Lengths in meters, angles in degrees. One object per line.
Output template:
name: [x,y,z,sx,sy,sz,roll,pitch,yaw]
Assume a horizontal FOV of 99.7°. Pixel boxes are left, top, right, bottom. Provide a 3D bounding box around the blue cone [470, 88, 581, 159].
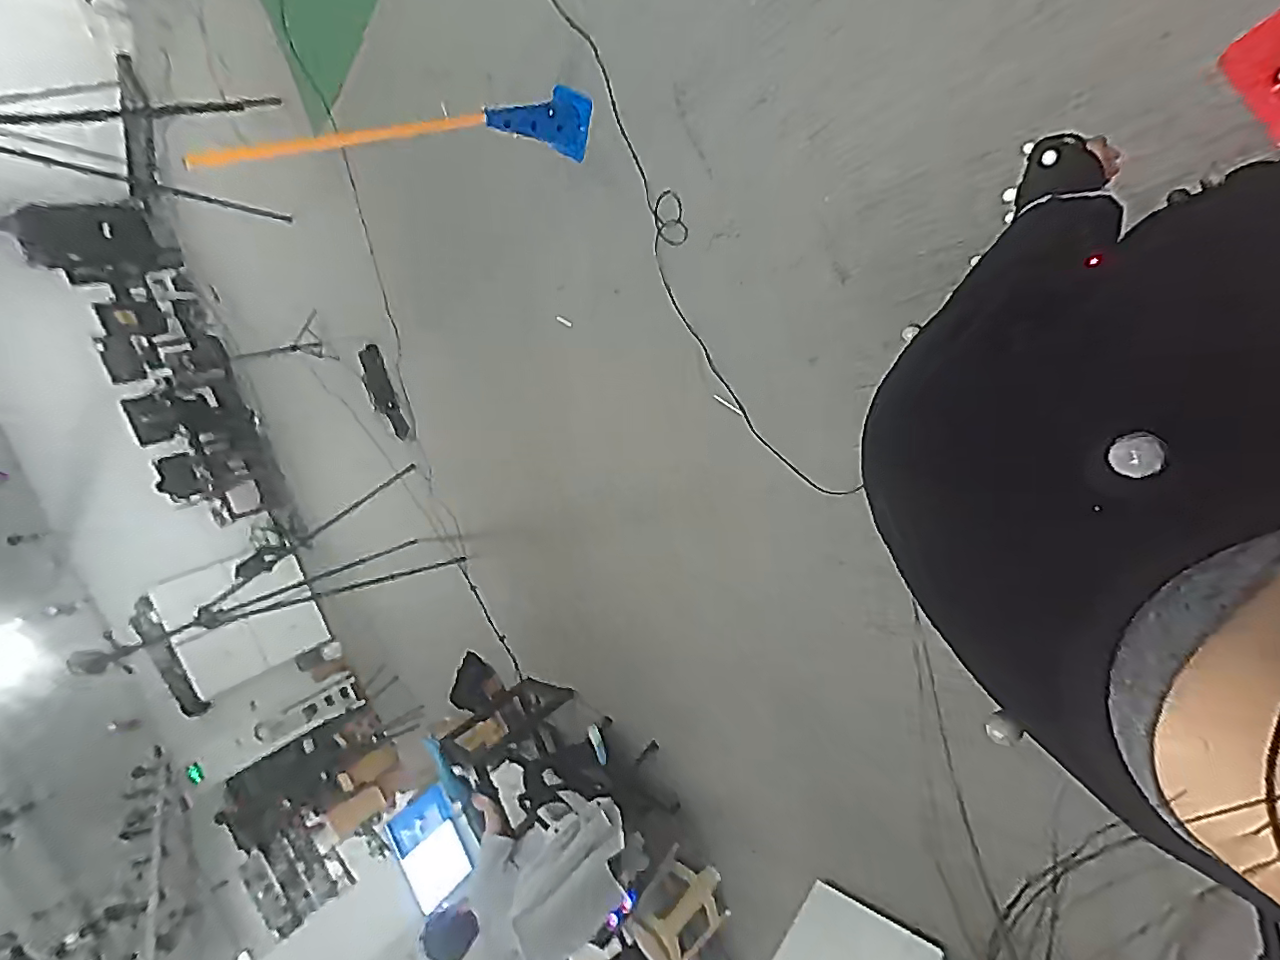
blue cone: [-0.390,-1.198,1.807,0.192,0.380,0.193,38,135,24]
